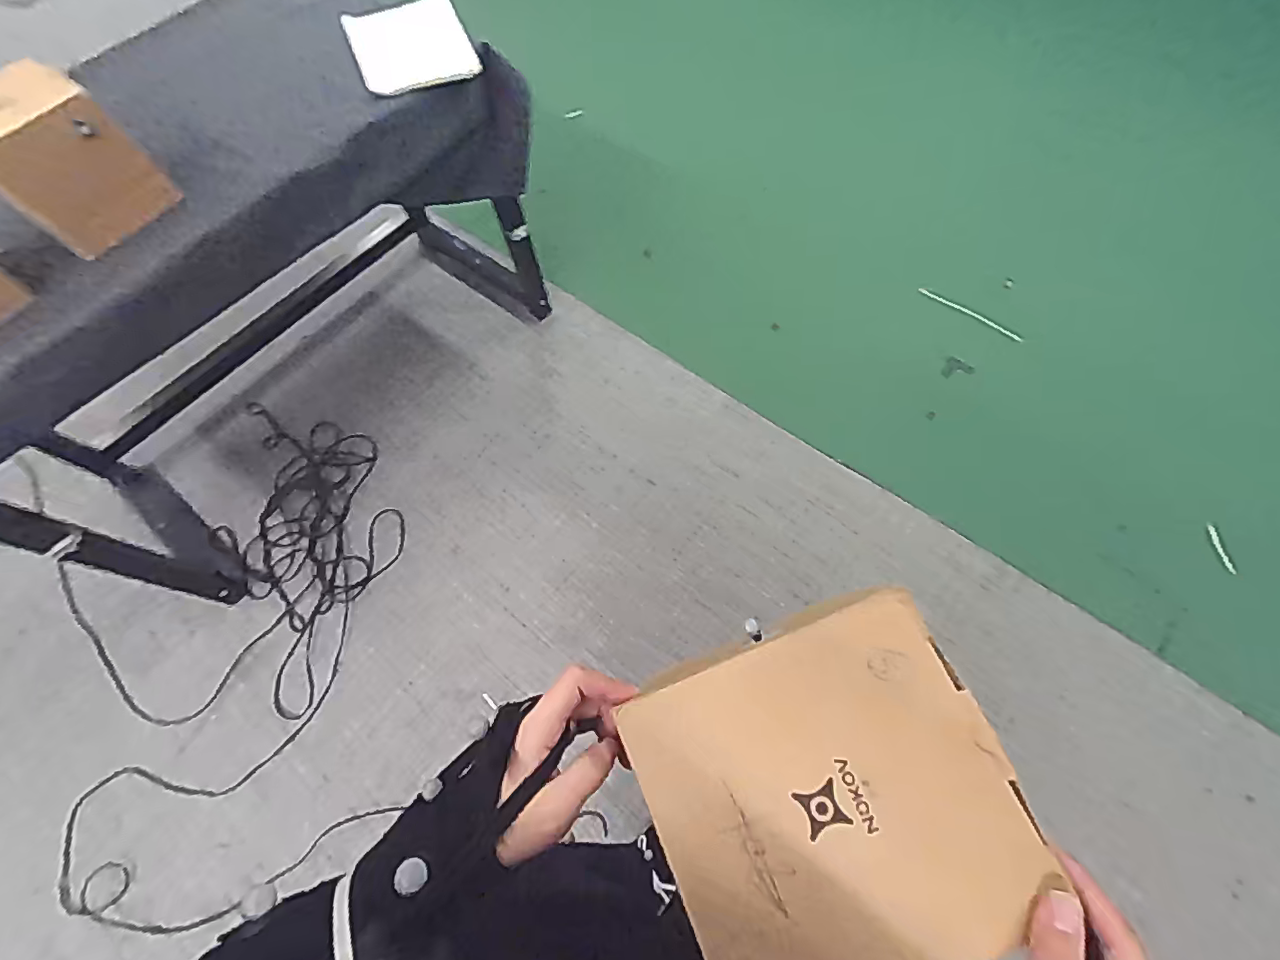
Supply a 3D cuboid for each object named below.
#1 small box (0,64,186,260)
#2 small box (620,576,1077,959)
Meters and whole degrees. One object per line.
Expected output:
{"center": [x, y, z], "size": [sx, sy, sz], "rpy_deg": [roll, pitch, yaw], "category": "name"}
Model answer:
{"center": [-0.854, -0.468, 0.810], "size": [0.168, 0.176, 0.179], "rpy_deg": [32, 70, 17], "category": "small box"}
{"center": [0.108, 0.177, 0.353], "size": [0.179, 0.176, 0.168], "rpy_deg": [-26, 73, 2], "category": "small box"}
